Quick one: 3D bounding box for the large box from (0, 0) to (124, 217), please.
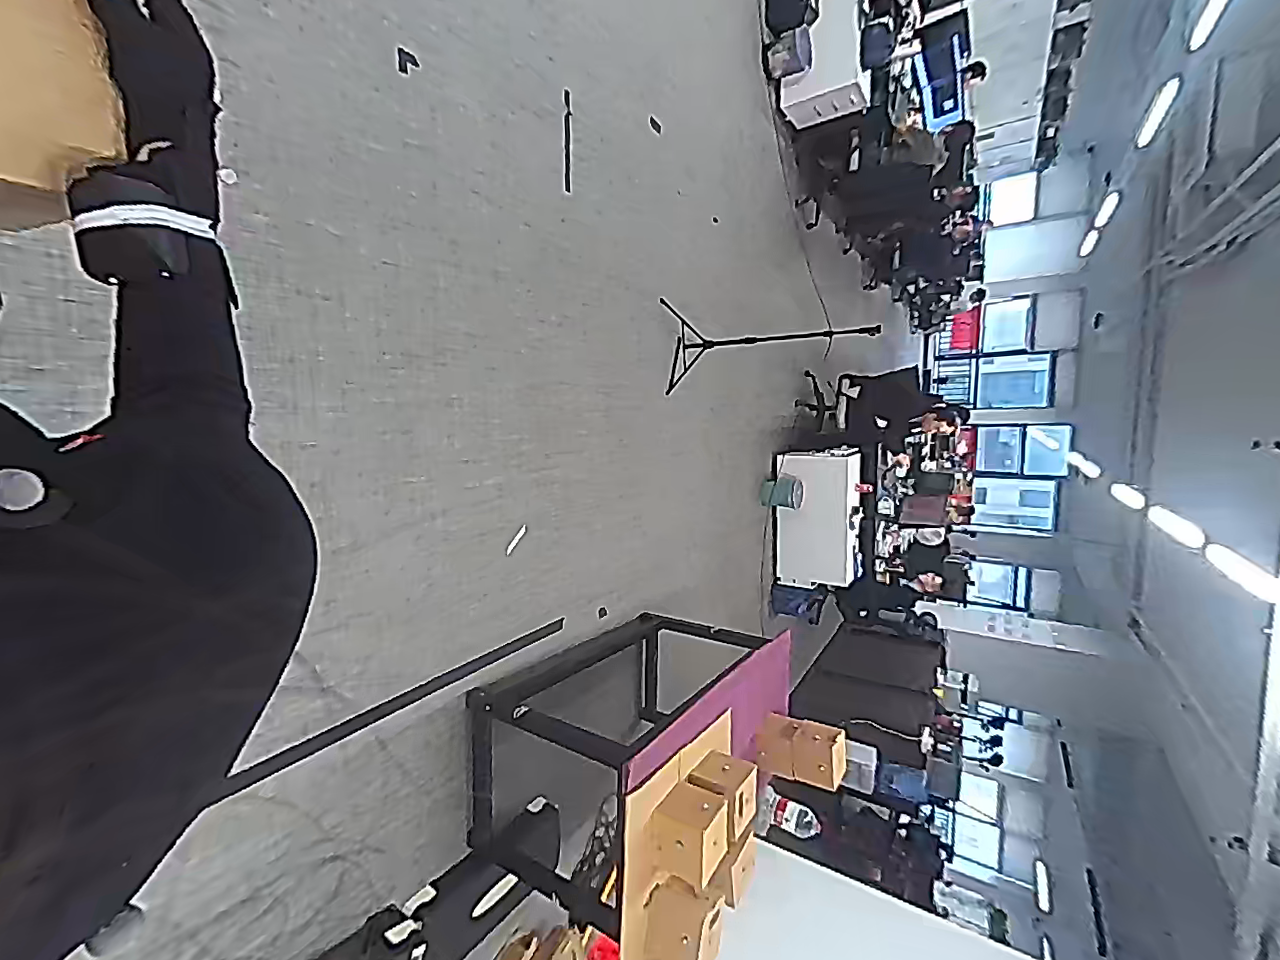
[{"bbox_3d":[-0.604,-0.363,0.282,0.408,0.320,0.320,-12,112,-58],"label":"large box"}]
